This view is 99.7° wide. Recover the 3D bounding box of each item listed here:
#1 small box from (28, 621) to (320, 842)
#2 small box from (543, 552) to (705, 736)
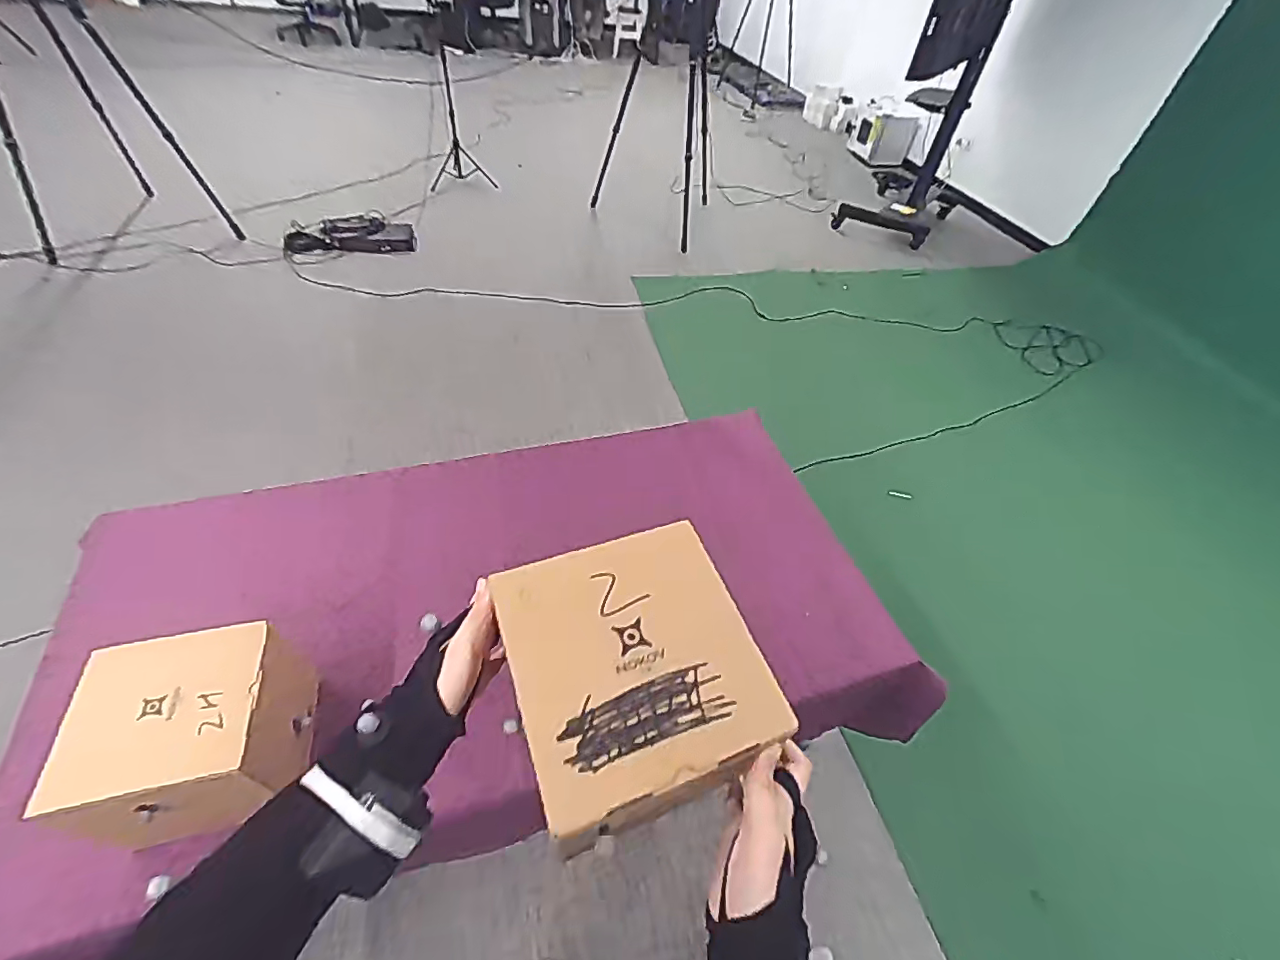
[{"bbox_3d":[-0.499,0.287,0.618,0.179,0.176,0.168,-7,49,-14],"label":"small box"},{"bbox_3d":[-0.031,0.223,0.734,0.179,0.176,0.168,-9,49,-13],"label":"small box"}]
